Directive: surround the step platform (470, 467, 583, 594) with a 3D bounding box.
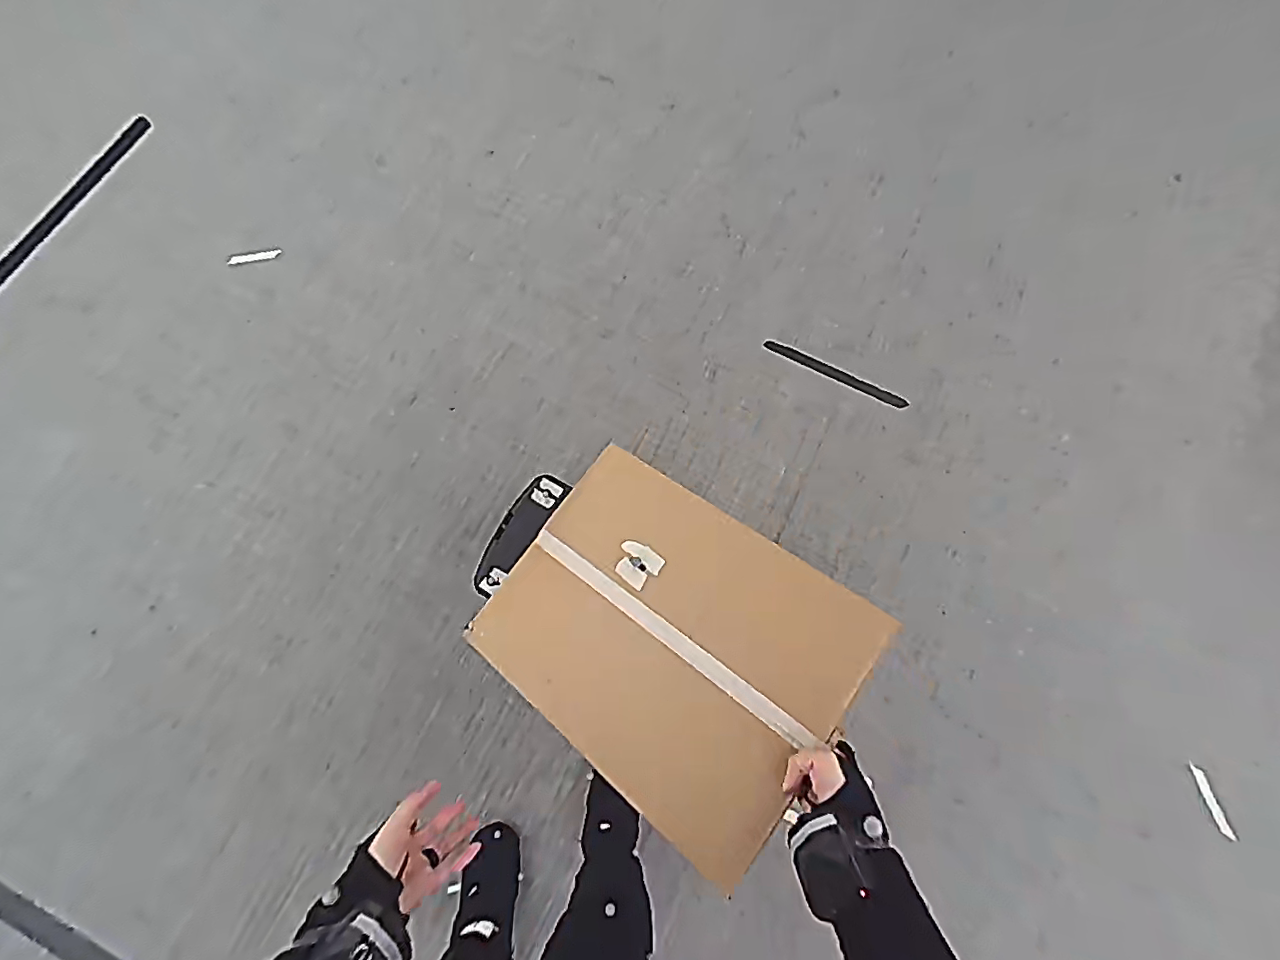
[{"bbox_3d":[-0.010,0.260,1.136,0.684,0.204,0.286,33,78,7],"label":"step platform"}]

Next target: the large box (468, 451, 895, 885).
[{"bbox_3d":[0.065,0.228,0.742,0.408,0.320,0.320,32,78,26],"label":"large box"}]
